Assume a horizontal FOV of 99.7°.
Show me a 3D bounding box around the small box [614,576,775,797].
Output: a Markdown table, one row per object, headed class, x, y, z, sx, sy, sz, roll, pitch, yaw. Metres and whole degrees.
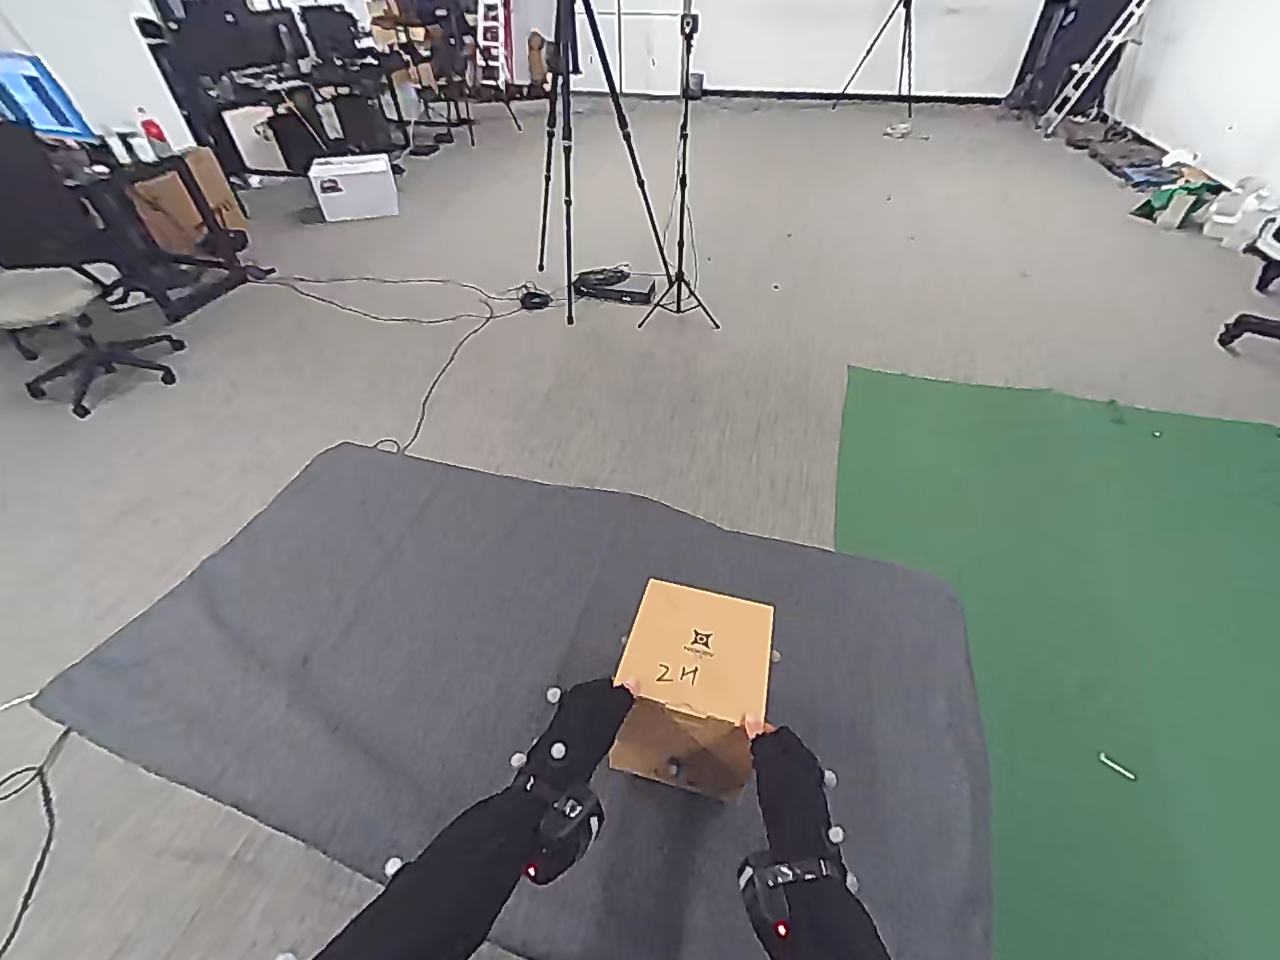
| class | x | y | z | sx | sy | sz | roll | pitch | yaw |
| --- | --- | --- | --- | --- | --- | --- | --- | --- | --- |
| small box | 0.067 | 0.255 | 0.683 | 0.168 | 0.176 | 0.179 | 11 | 36 | 10 |
